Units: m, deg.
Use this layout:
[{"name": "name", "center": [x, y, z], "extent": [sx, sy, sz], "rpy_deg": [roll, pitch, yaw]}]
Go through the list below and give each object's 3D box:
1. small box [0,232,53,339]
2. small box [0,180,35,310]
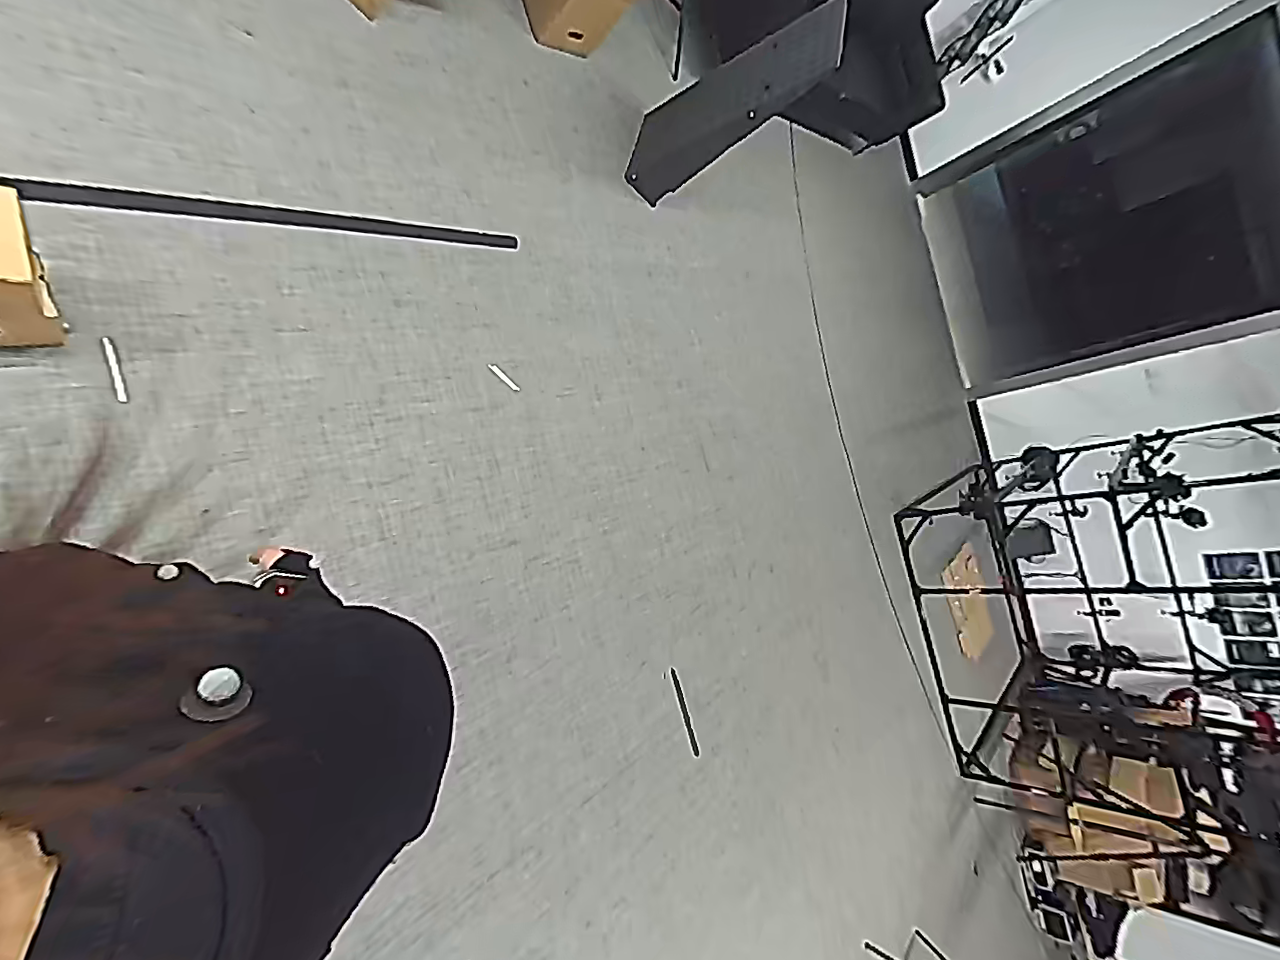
[{"name": "small box", "center": [-1.316, -0.388, 1.076], "extent": [0.179, 0.176, 0.168], "rpy_deg": [-17, 93, -43]}, {"name": "small box", "center": [-1.212, -0.422, 0.955], "extent": [0.168, 0.176, 0.179], "rpy_deg": [-10, 89, -44]}]
